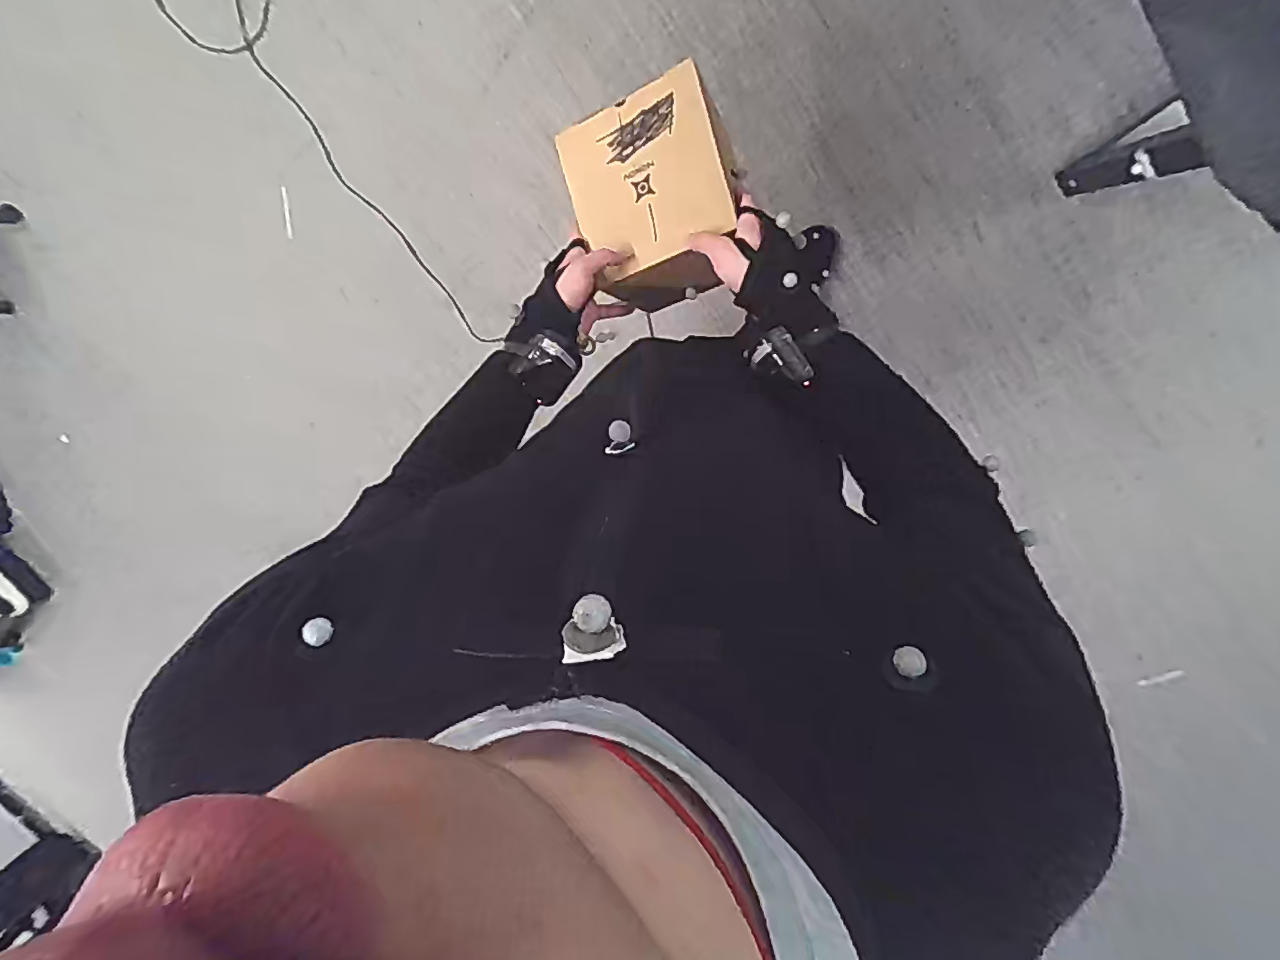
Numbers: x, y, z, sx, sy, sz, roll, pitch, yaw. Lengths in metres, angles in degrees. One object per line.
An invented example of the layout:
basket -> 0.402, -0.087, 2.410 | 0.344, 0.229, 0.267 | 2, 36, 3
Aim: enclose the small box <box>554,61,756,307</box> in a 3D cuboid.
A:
small box -> 0.027, -0.329, 0.645 | 0.168, 0.176, 0.179 | -15, 92, 24
